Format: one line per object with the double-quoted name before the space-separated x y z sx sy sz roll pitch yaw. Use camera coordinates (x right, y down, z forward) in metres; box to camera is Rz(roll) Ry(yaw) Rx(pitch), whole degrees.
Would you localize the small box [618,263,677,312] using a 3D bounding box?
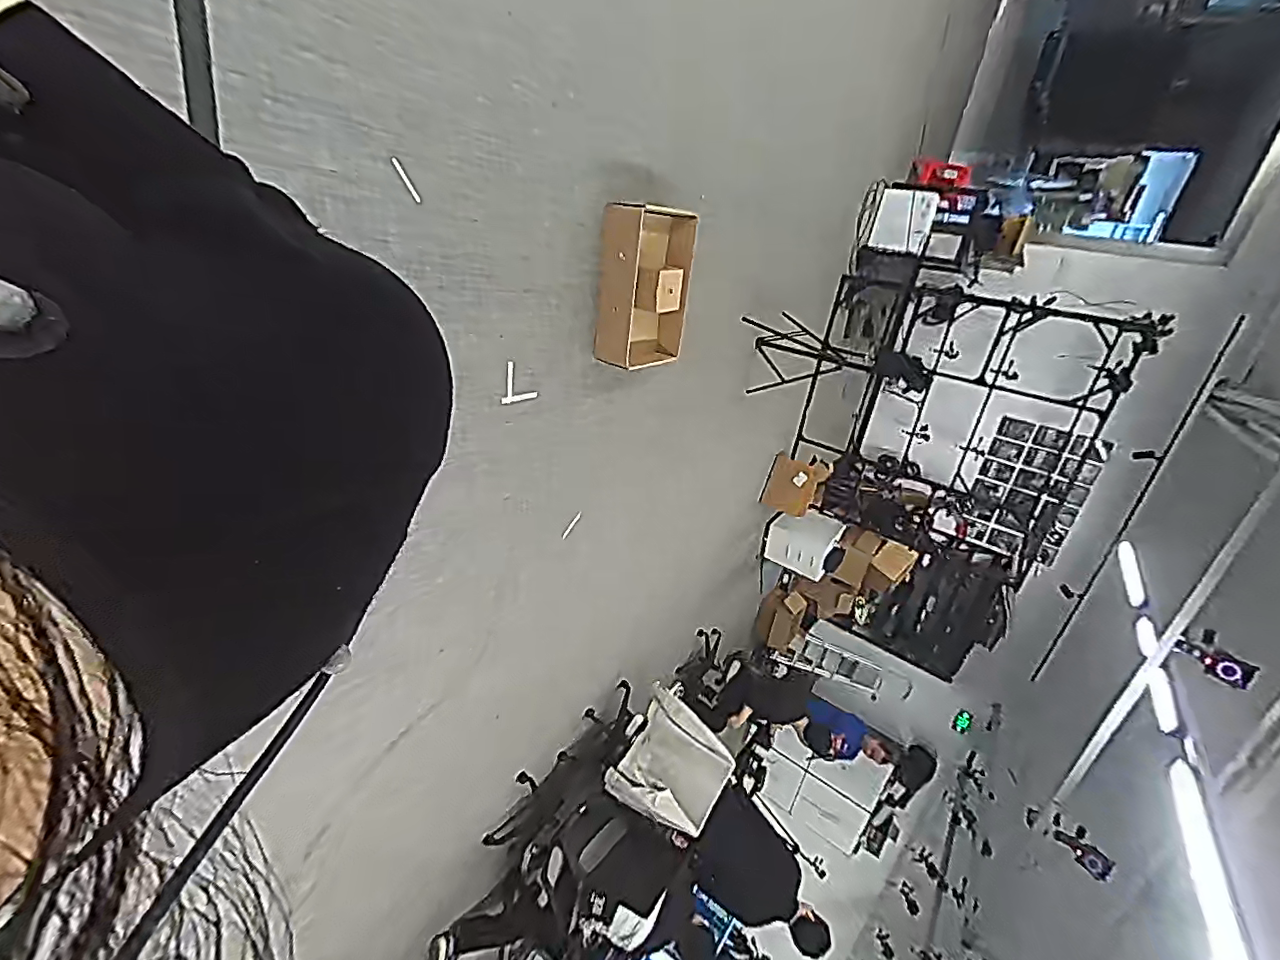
"small box" 0.031 -0.812 2.265 0.179 0.176 0.168 -28 133 -47
